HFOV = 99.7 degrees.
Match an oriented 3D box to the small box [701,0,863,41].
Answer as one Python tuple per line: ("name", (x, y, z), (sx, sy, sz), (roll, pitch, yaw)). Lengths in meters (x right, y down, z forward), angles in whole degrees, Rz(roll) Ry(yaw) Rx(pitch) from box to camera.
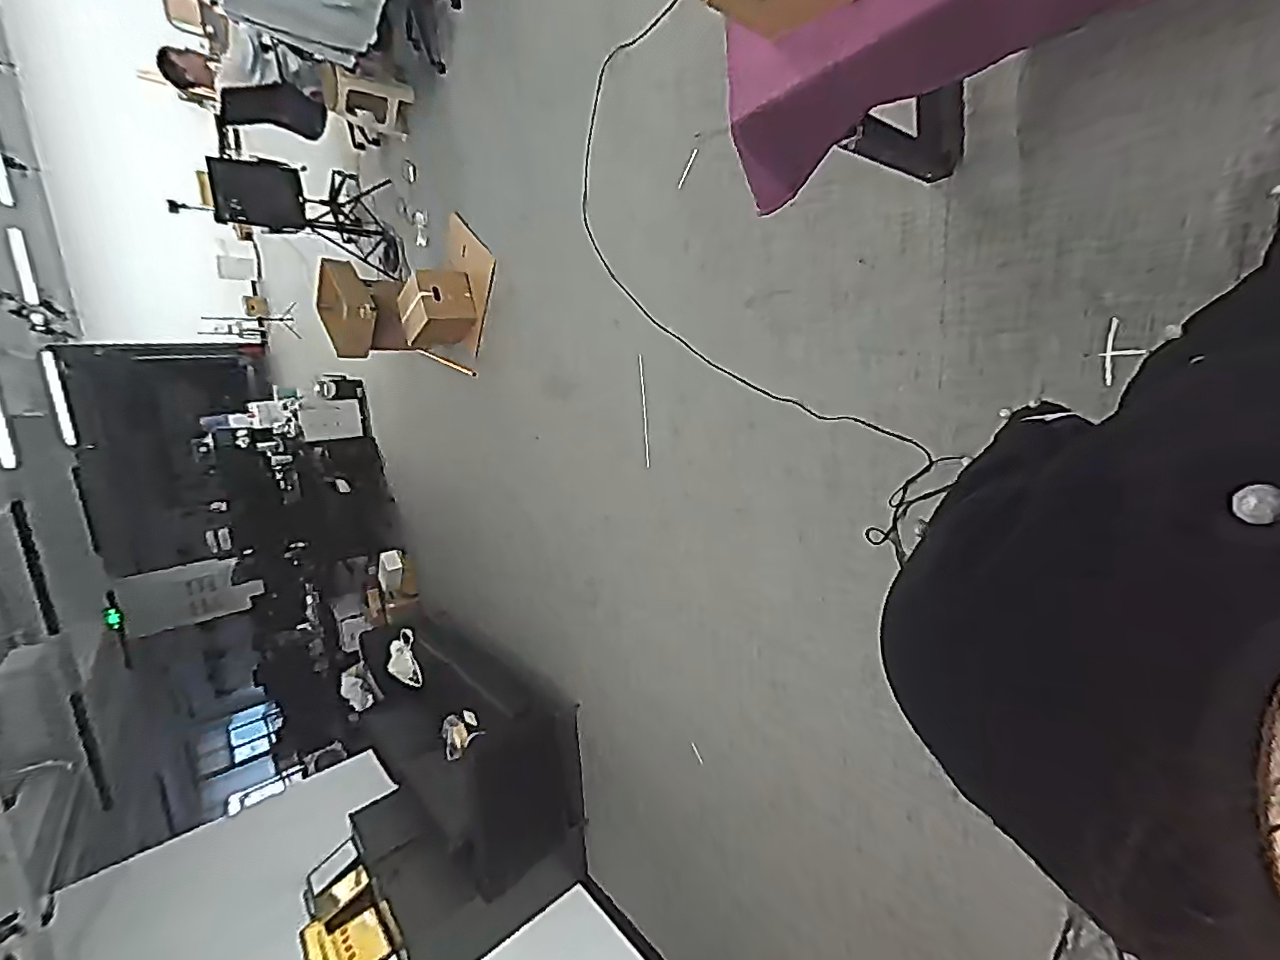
("small box", (0.202, -0.725, 0.710), (0.179, 0.176, 0.168), (16, 112, 47))
